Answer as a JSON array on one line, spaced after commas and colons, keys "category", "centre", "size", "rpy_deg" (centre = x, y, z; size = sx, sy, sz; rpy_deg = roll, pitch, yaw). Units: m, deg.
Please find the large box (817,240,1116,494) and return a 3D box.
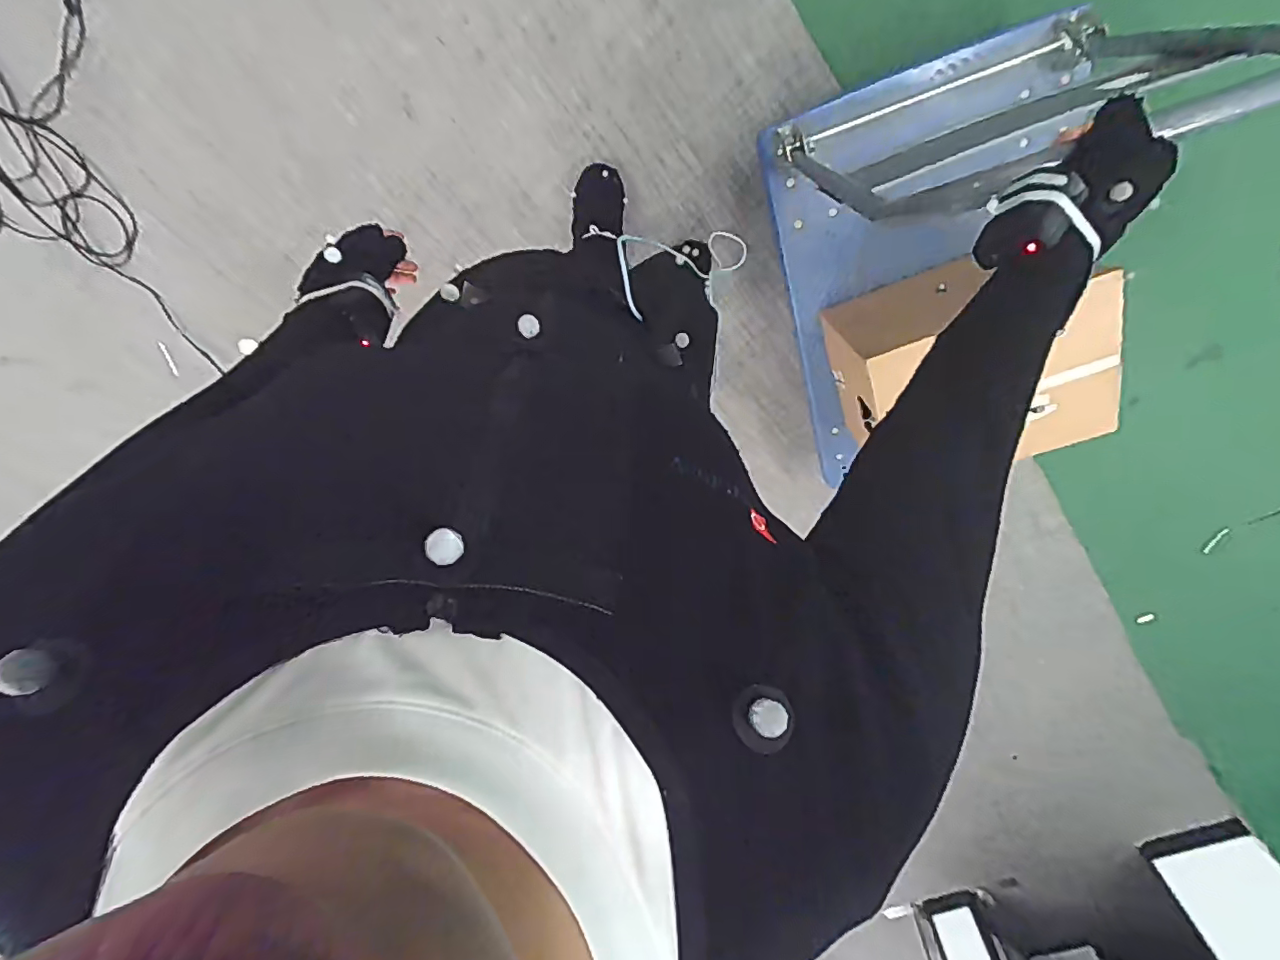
[{"category": "large box", "centre": [0.626, -0.233, 1.091], "size": [0.408, 0.320, 0.320], "rpy_deg": [-19, 121, 12]}]
